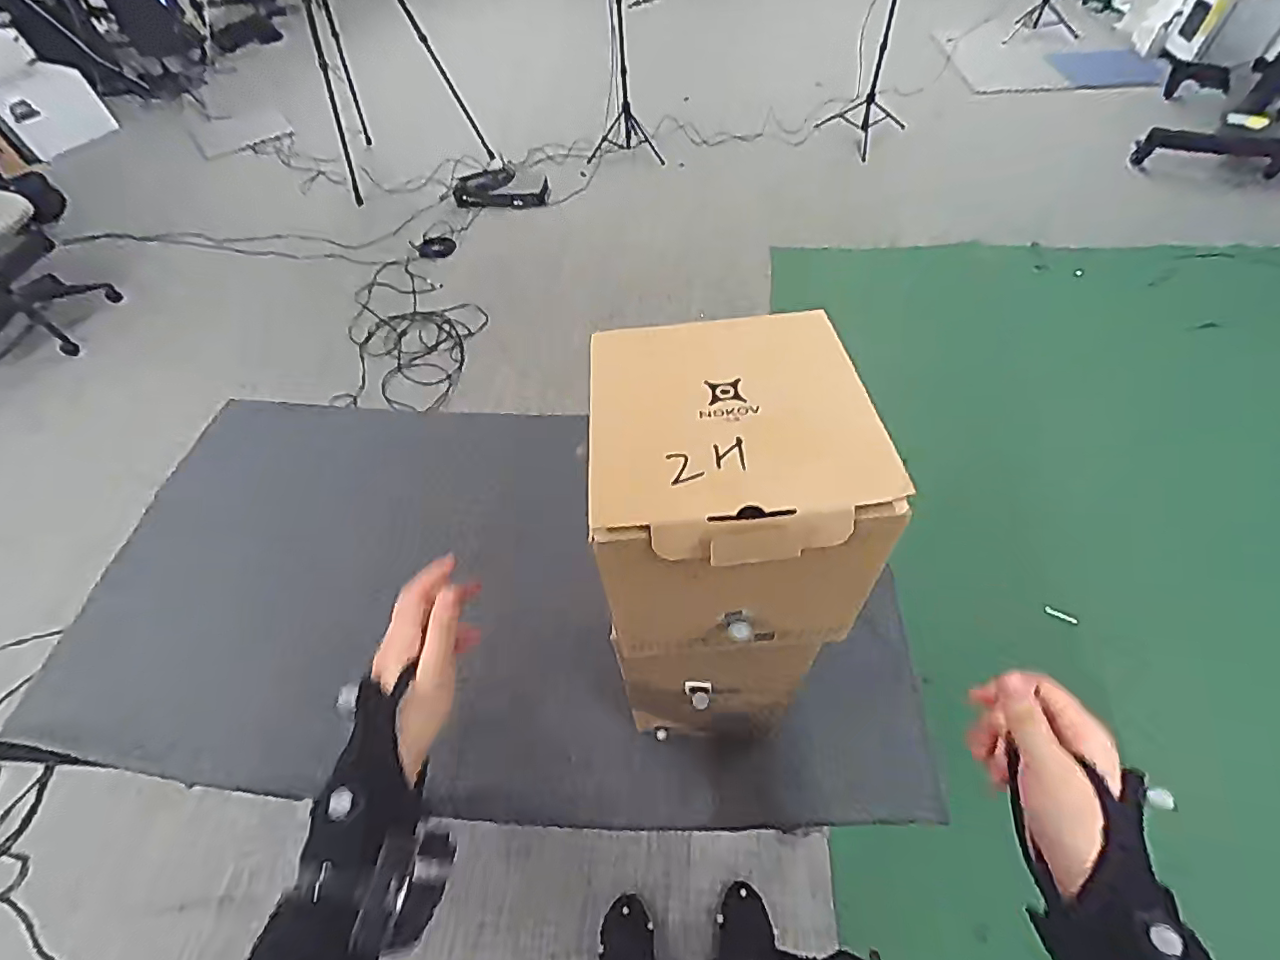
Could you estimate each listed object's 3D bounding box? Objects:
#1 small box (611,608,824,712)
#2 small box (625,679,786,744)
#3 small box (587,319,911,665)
[{"bbox_3d":[0.066,0.107,0.520,0.168,0.176,0.179,-2,52,4],"label":"small box"},{"bbox_3d":[0.079,0.205,0.650,0.168,0.176,0.179,1,51,6],"label":"small box"},{"bbox_3d":[0.058,0.012,0.385,0.168,0.176,0.179,-6,51,3],"label":"small box"}]
